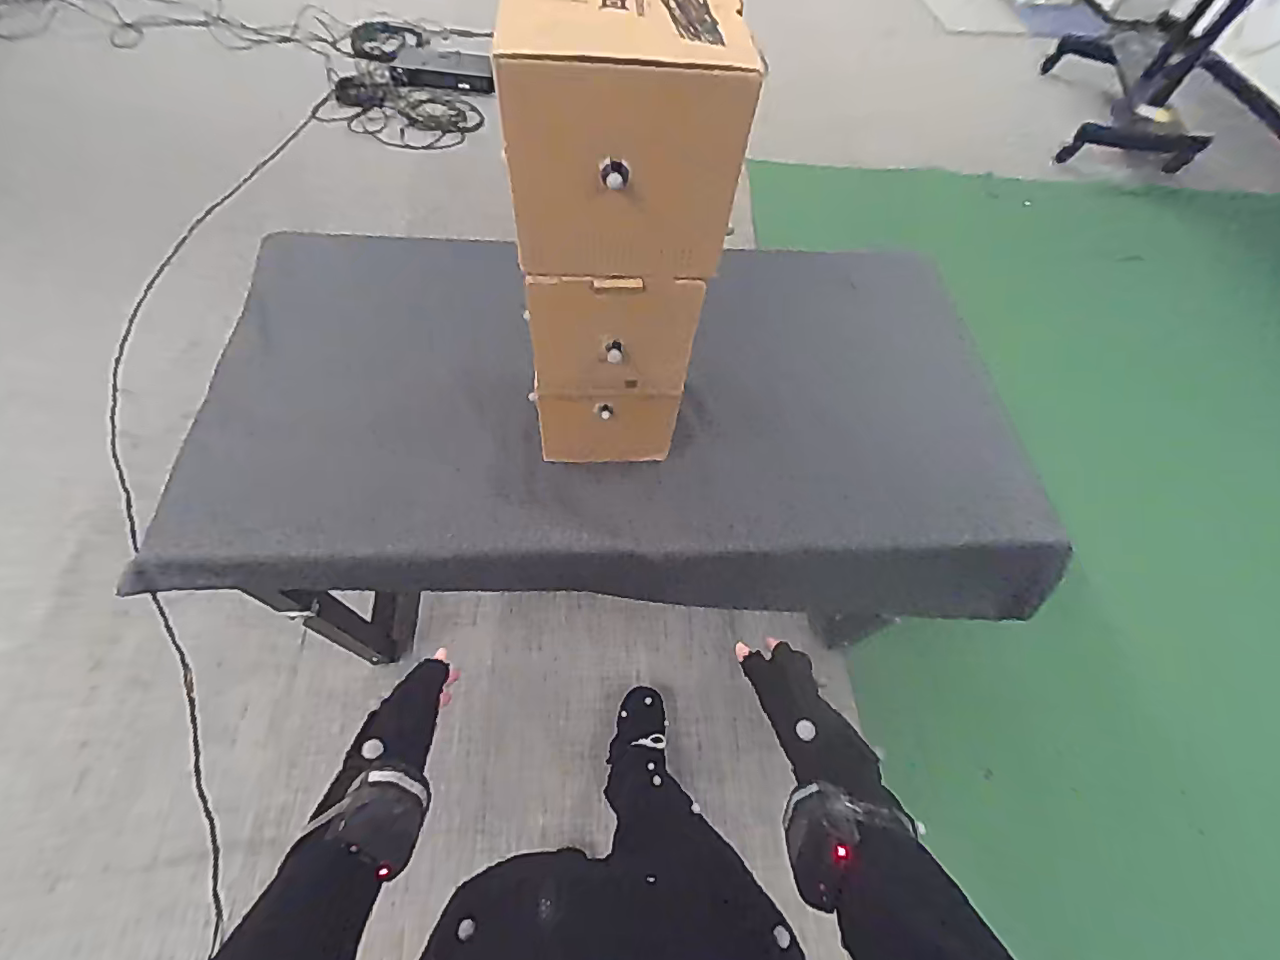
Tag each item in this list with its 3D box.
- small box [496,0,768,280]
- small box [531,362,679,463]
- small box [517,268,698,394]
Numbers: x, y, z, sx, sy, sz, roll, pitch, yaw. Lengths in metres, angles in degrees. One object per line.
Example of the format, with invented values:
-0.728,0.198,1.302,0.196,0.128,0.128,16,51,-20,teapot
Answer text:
-0.018,-0.284,0.444,0.179,0.176,0.168,-2,61,-8,small box
-0.050,-0.133,0.734,0.179,0.176,0.168,0,61,-7,small box
-0.037,-0.208,0.589,0.168,0.176,0.179,-1,62,-6,small box
